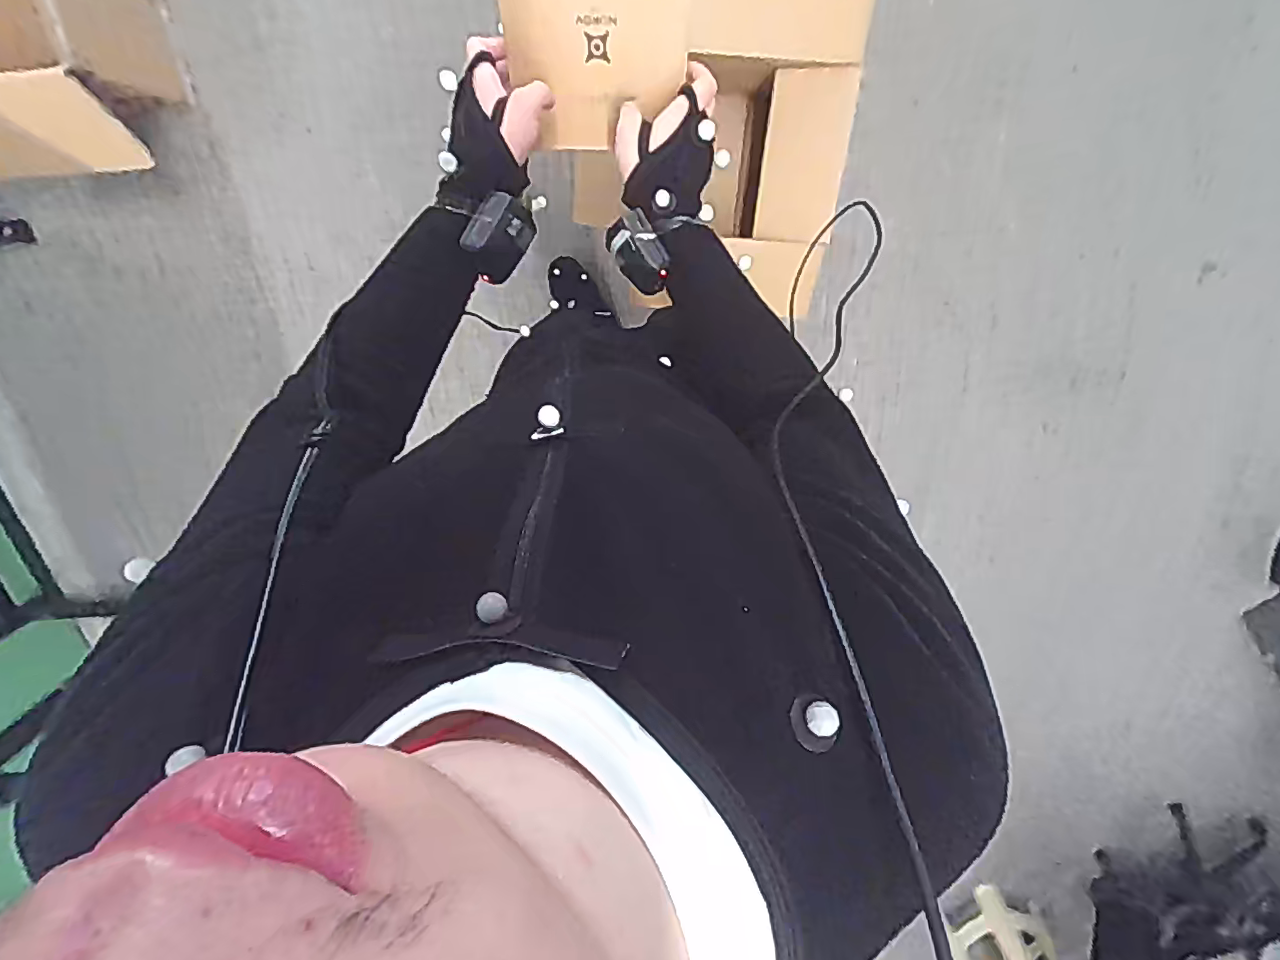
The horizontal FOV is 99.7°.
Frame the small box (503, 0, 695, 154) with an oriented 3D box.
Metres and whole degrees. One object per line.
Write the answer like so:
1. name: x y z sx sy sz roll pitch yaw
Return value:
1. small box: -0.037 -0.438 0.531 0.168 0.176 0.179 0 133 0
